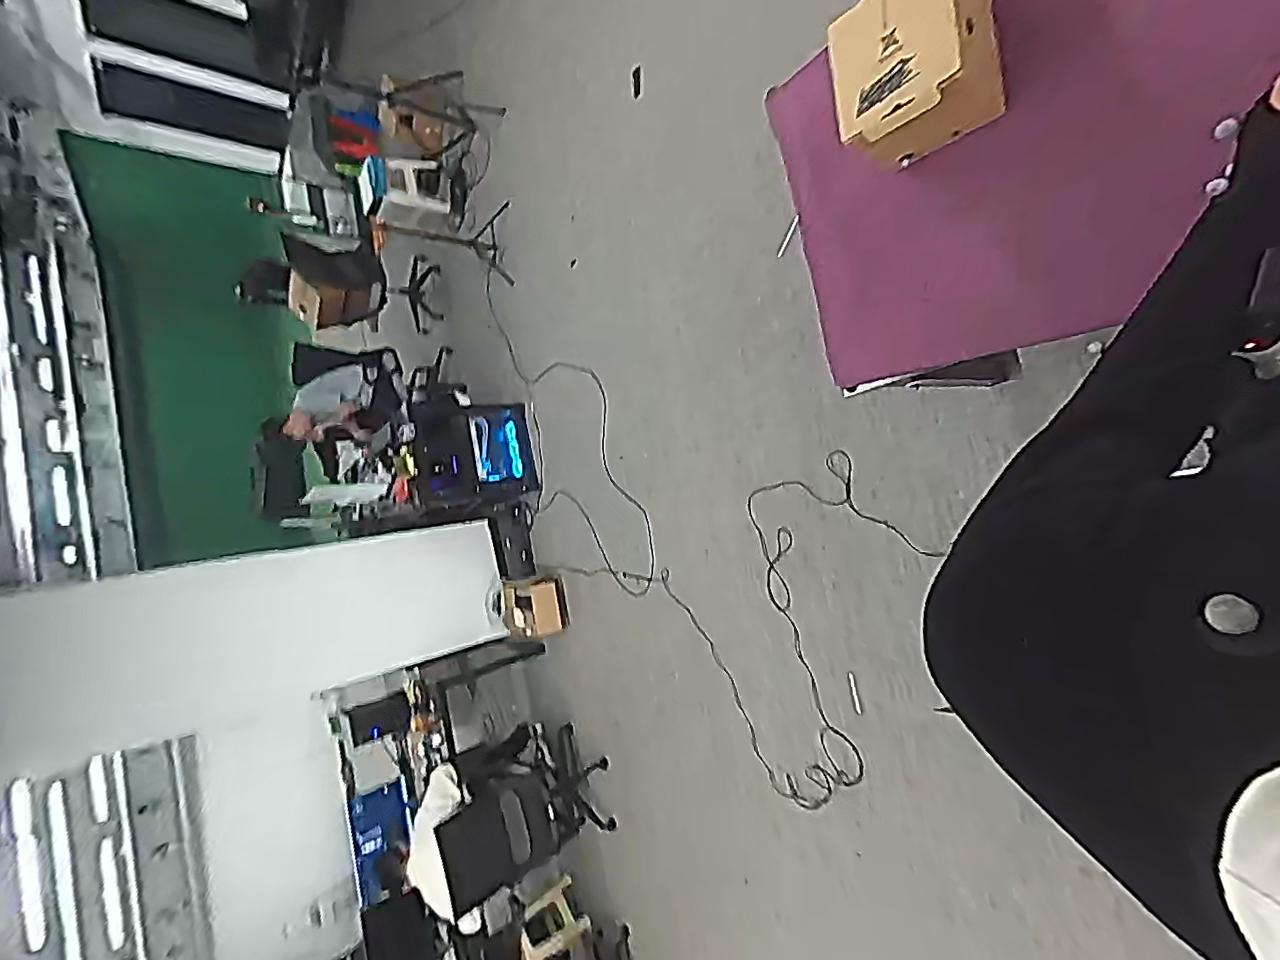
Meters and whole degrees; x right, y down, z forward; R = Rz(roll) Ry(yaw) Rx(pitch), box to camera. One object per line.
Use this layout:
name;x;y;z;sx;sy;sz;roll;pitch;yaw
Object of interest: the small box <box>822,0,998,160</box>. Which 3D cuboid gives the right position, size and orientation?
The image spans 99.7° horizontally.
small box;0.392;-0.595;0.782;0.168;0.176;0.179;-8;91;50
